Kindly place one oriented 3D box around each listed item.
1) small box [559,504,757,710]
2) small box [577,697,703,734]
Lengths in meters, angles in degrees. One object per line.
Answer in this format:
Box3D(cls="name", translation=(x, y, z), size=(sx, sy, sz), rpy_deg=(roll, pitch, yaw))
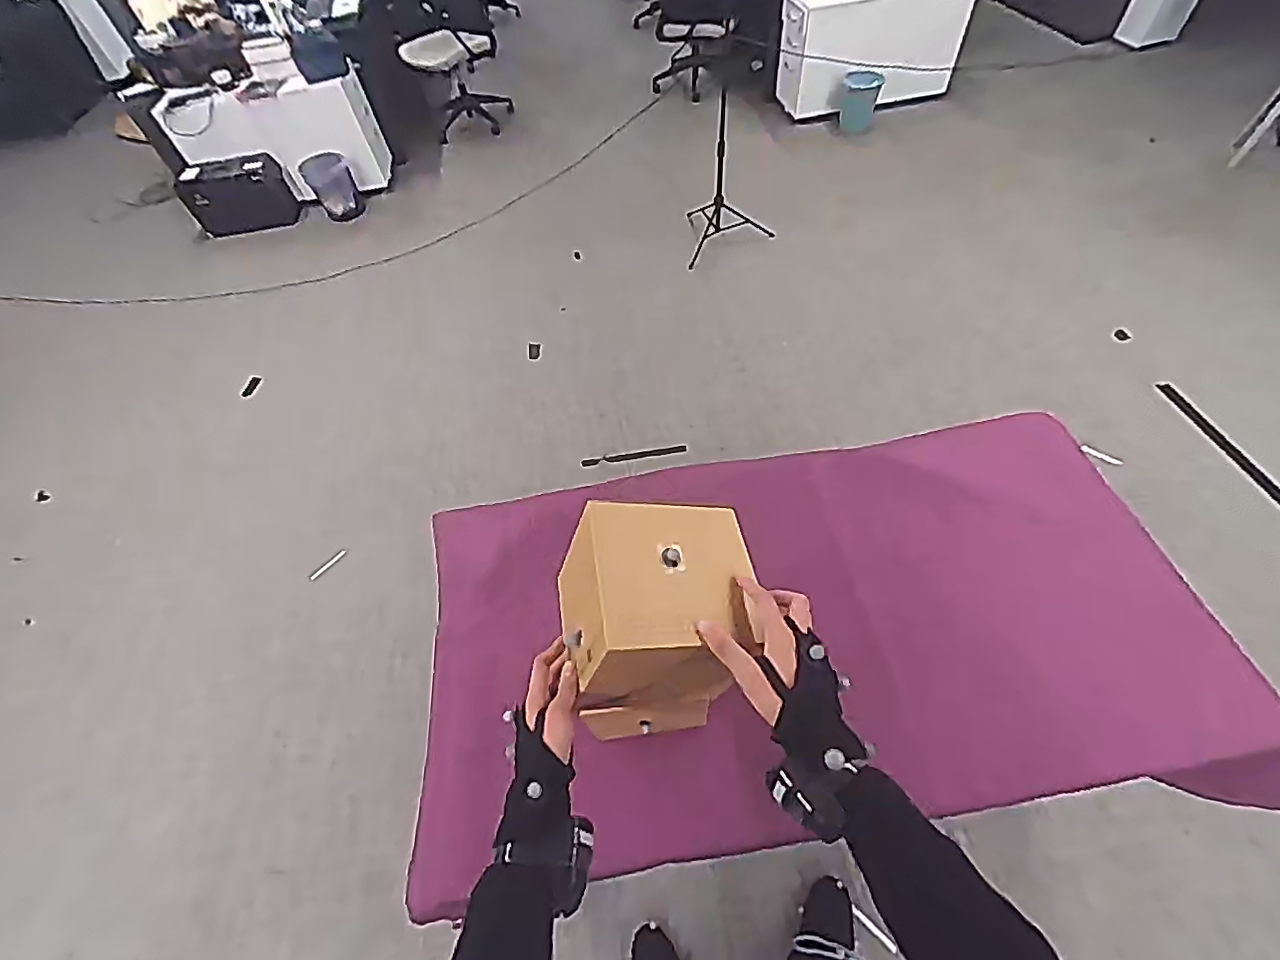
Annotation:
Box3D(cls="small box", translation=(0.013, 0.145, 0.606), size=(0.179, 0.168, 0.176), rpy_deg=(3, 49, -20))
Box3D(cls="small box", translation=(-0.001, 0.263, 0.794), size=(0.168, 0.176, 0.179), rpy_deg=(-8, 54, -1))
